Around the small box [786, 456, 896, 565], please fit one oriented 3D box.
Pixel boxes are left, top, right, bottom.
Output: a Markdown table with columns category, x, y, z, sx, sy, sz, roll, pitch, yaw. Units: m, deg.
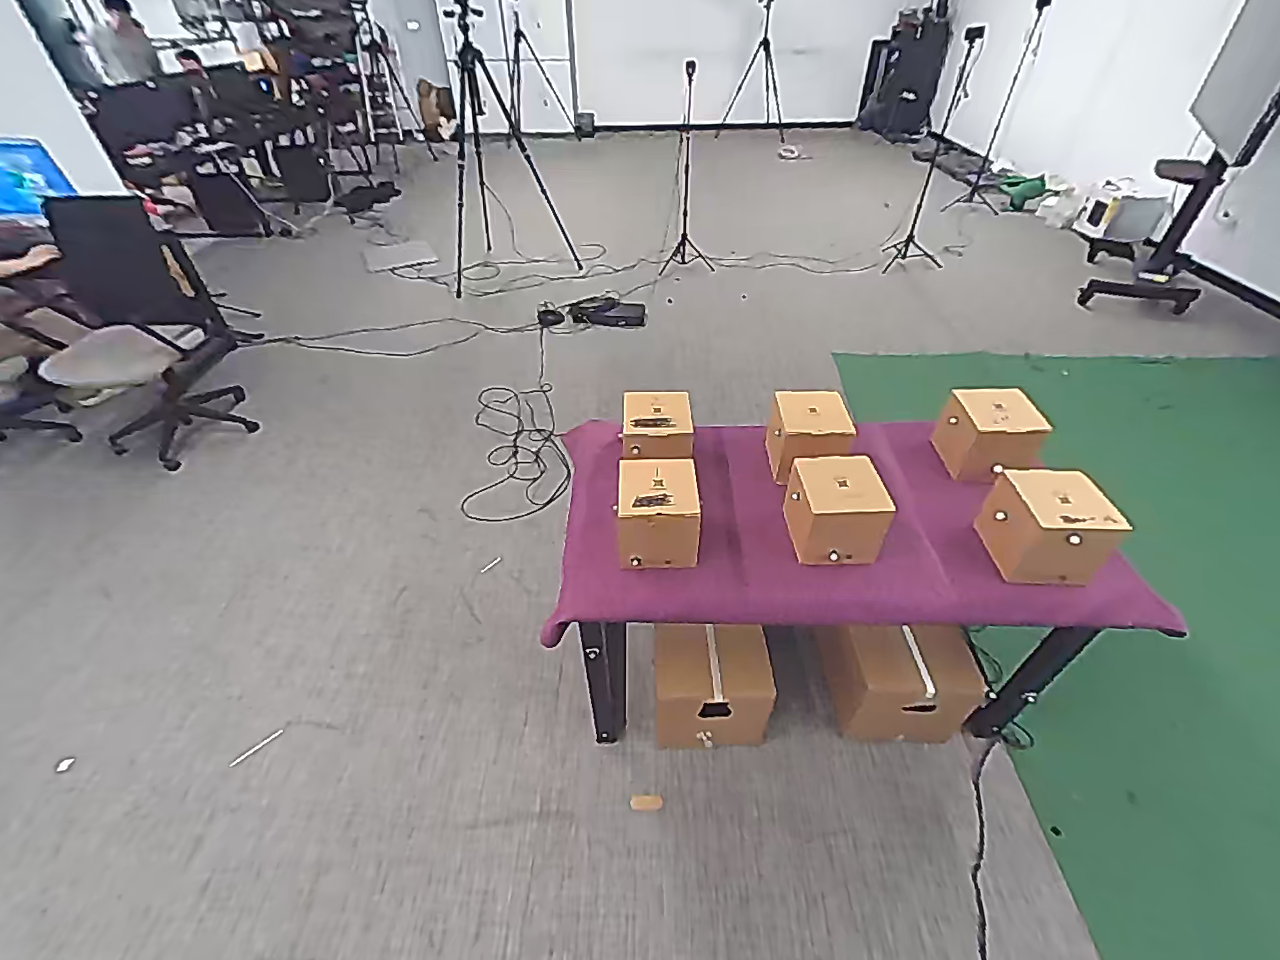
| category | x | y | z | sx | sy | sz | roll | pitch | yaw |
| --- | --- | --- | --- | --- | --- | --- | --- | --- | --- |
| small box | 0.426 | 0.067 | 1.182 | 0.168 | 0.176 | 0.179 | -2 | 41 | 1 |

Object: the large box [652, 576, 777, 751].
| category | x | y | z | sx | sy | sz | roll | pitch | yaw |
| --- | --- | --- | --- | --- | --- | --- | --- | --- | --- |
| large box | 0.202 | 0.550 | 1.639 | 0.320 | 0.320 | 0.408 | -1 | 41 | -1 |

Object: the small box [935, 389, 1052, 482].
| category | x | y | z | sx | sy | sz | roll | pitch | yaw |
| --- | --- | --- | --- | --- | --- | --- | --- | --- | --- |
| small box | 0.876 | -0.112 | 1.363 | 0.168 | 0.176 | 0.179 | -1 | 43 | 4 |

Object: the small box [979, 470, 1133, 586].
| category | x | y | z | sx | sy | sz | roll | pitch | yaw |
| --- | --- | --- | --- | --- | --- | --- | --- | --- | --- |
| small box | 0.849 | 0.098 | 1.130 | 0.168 | 0.176 | 0.179 | 0 | 39 | 4 |

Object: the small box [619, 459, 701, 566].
| category | x | y | z | sx | sy | sz | roll | pitch | yaw |
| --- | --- | --- | --- | --- | --- | --- | --- | --- | --- |
| small box | 0.042 | 0.073 | 1.182 | 0.168 | 0.176 | 0.179 | -1 | 40 | 0 |

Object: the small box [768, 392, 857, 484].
| category | x | y | z | sx | sy | sz | roll | pitch | yaw |
| --- | --- | --- | --- | --- | --- | --- | --- | --- | --- |
| small box | 0.428 | -0.106 | 1.377 | 0.168 | 0.176 | 0.179 | 0 | 43 | 1 |
